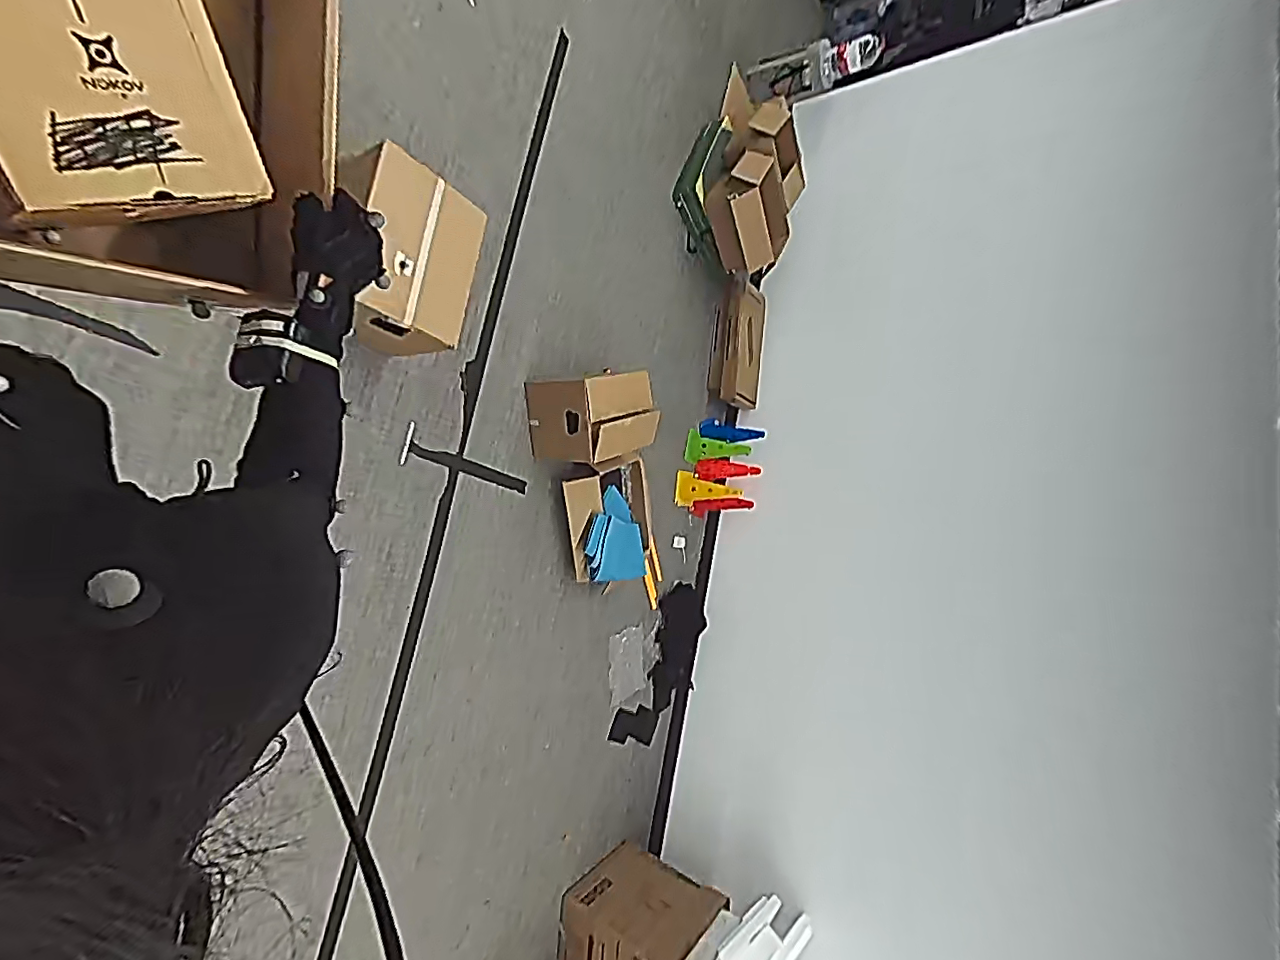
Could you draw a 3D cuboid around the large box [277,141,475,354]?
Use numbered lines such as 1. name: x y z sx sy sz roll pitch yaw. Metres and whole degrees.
1. large box: -0.696 -0.588 1.445 0.320 0.320 0.408 21 77 -55
